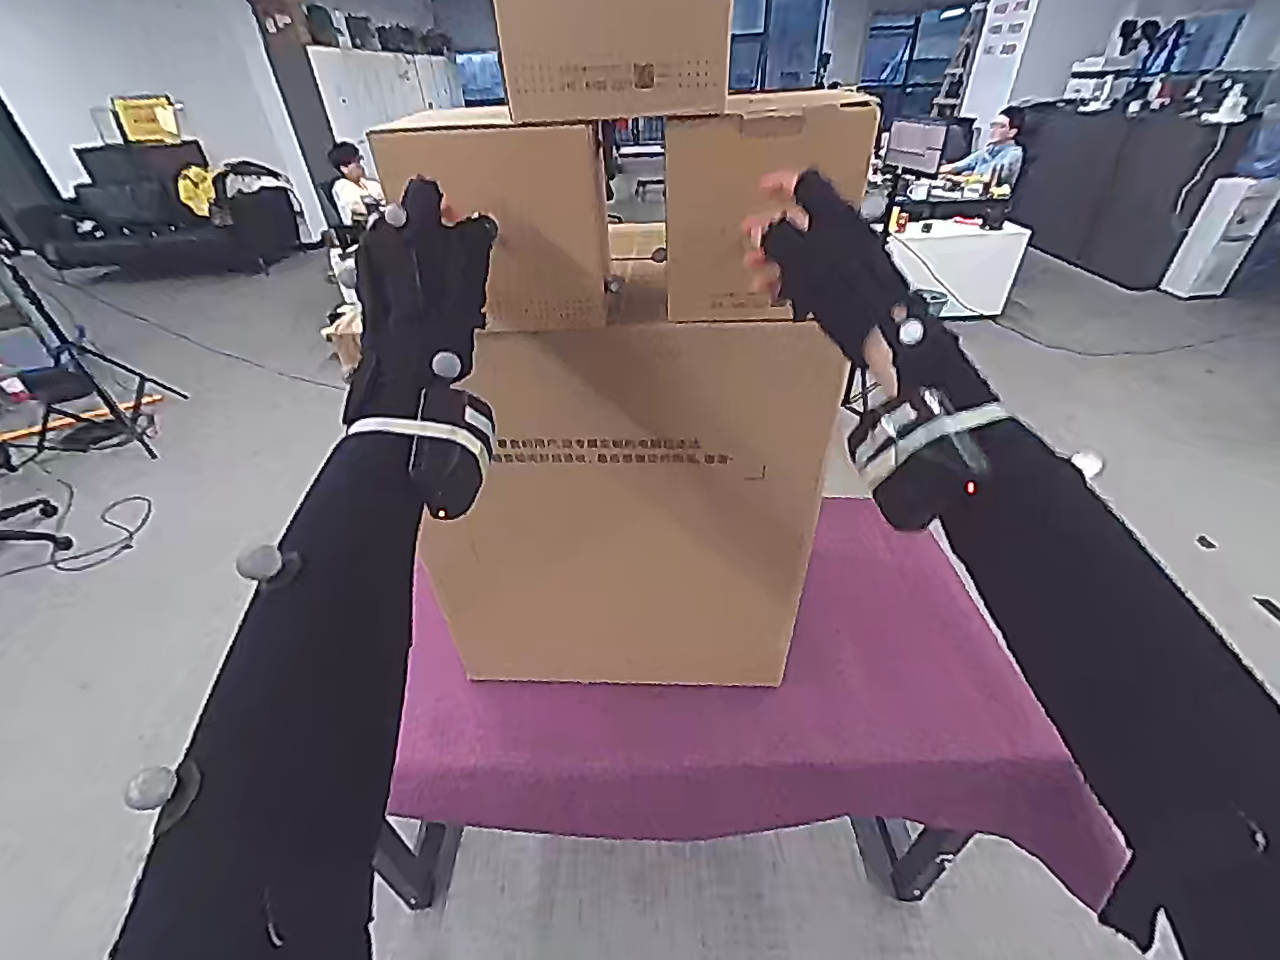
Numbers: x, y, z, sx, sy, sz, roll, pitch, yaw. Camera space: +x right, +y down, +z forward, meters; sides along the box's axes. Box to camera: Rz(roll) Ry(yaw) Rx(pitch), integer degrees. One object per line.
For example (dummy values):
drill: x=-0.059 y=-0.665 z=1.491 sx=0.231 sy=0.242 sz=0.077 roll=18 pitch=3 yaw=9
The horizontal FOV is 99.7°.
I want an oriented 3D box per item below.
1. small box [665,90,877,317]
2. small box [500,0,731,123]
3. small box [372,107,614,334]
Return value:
small box: x=0.111 y=-0.270 z=0.532 sx=0.168 sy=0.176 sz=0.179 roll=0 pitch=39 yaw=4
small box: x=-0.014 y=-0.390 z=0.433 sx=0.168 sy=0.176 sz=0.179 roll=0 pitch=37 yaw=2
small box: x=-0.119 y=-0.255 z=0.529 sx=0.179 sy=0.176 sz=0.168 roll=-3 pitch=38 yaw=2
